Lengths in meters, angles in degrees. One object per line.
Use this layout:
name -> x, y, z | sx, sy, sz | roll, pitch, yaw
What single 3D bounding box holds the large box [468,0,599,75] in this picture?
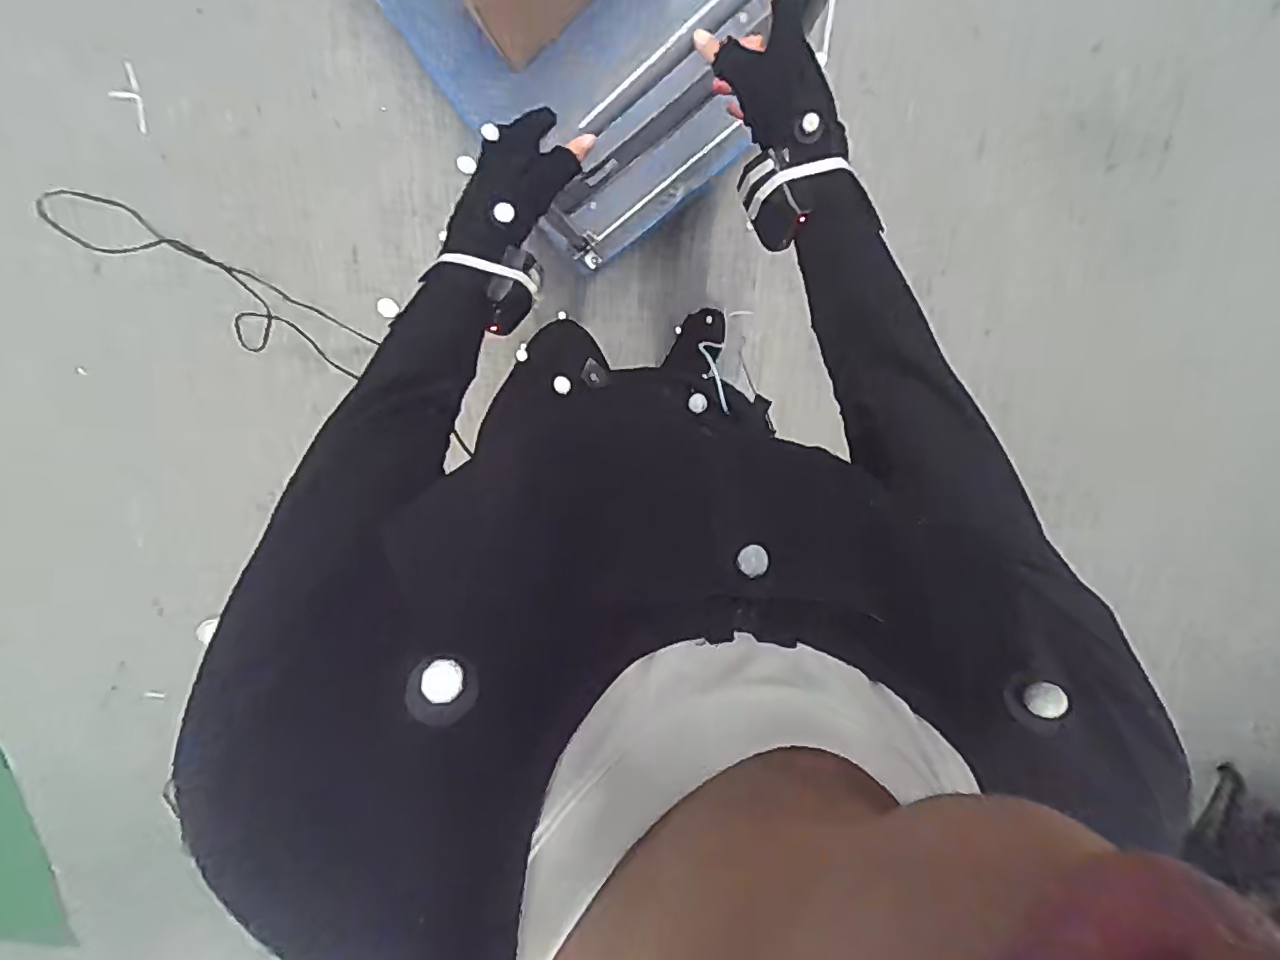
large box -> -0.165, -0.958, 0.829 | 0.408, 0.320, 0.320 | -38, 105, 14
